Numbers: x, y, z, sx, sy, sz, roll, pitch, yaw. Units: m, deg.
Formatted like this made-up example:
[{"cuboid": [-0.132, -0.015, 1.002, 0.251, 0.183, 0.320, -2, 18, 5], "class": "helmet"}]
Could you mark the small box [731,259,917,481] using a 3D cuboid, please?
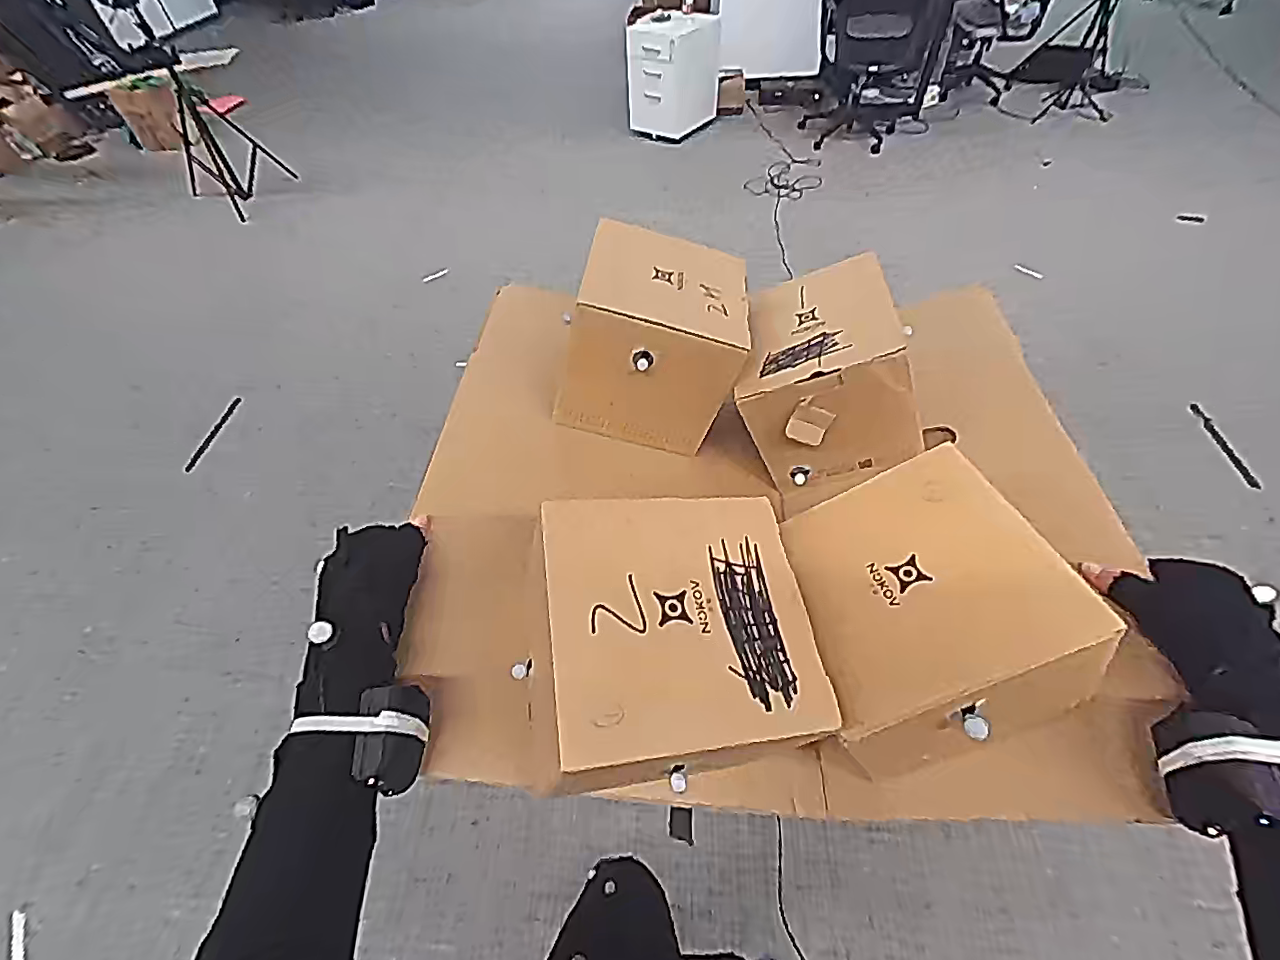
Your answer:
[{"cuboid": [0.214, -0.115, 0.635, 0.168, 0.176, 0.179, -14, 47, 24], "class": "small box"}]
